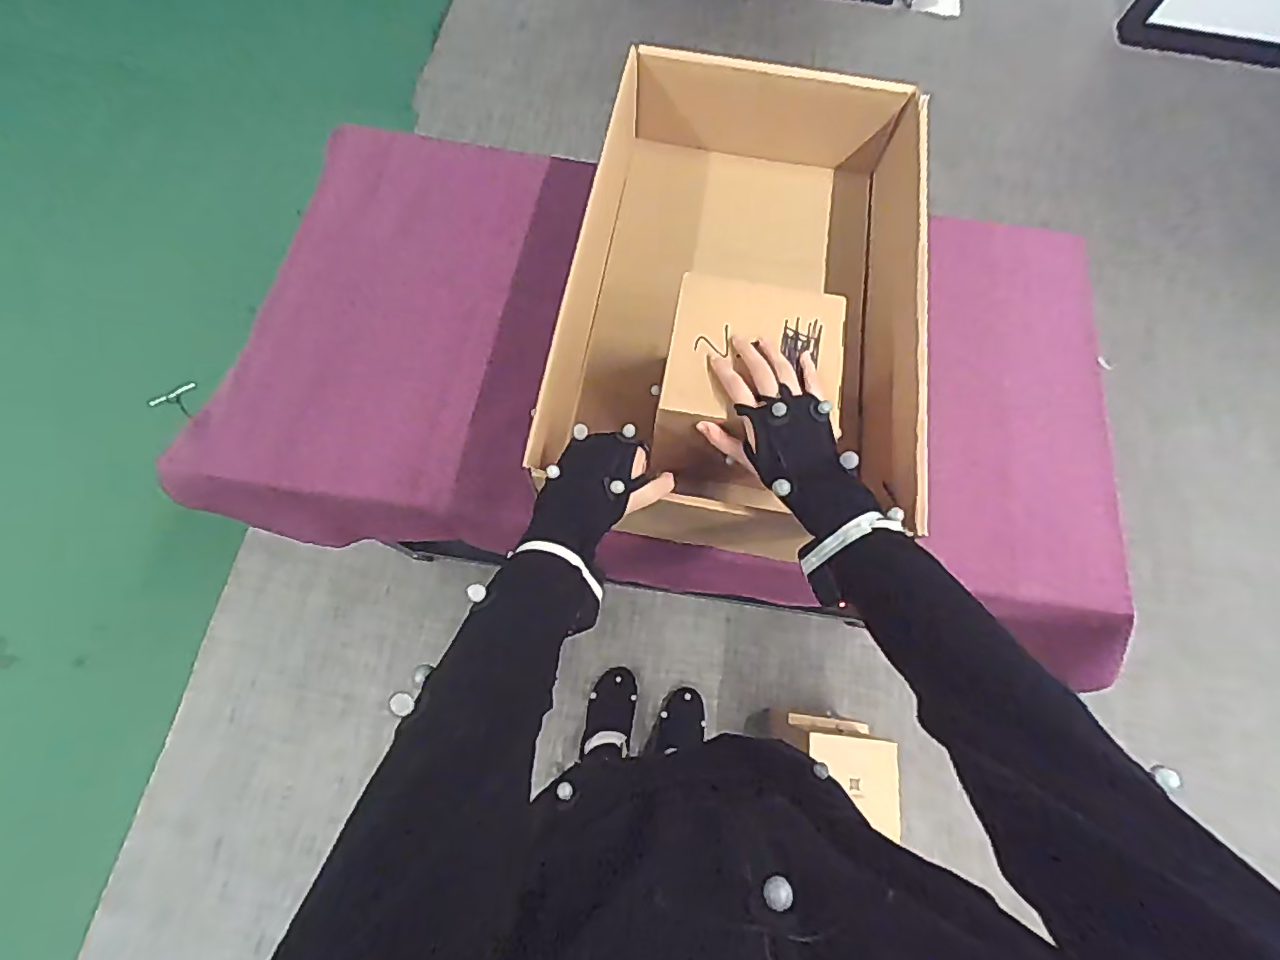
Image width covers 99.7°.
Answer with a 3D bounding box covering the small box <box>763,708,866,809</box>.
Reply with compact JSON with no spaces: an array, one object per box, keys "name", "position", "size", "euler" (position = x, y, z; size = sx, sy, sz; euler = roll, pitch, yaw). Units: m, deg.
[{"name":"small box","position":[0.388,0.616,1.216],"size":[0.179,0.176,0.168],"euler":[8,72,1]}]
